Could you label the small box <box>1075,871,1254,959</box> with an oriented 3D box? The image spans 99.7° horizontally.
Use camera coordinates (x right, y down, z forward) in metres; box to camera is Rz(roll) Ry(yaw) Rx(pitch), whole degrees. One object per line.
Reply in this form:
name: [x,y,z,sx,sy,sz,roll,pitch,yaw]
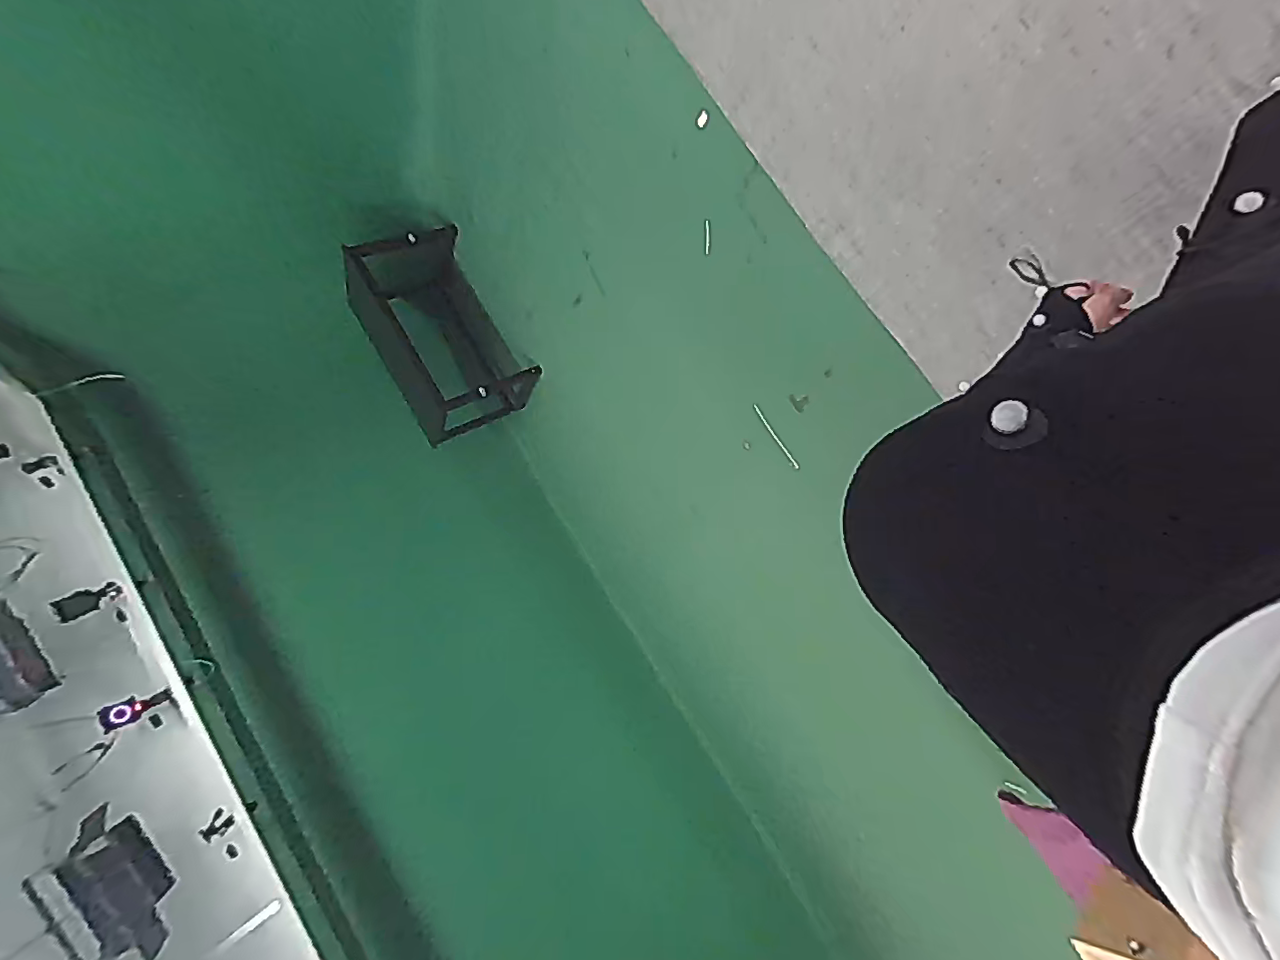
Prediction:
small box: [0.902,0.823,0.917,0.179,0.176,0.168,56,148,5]
